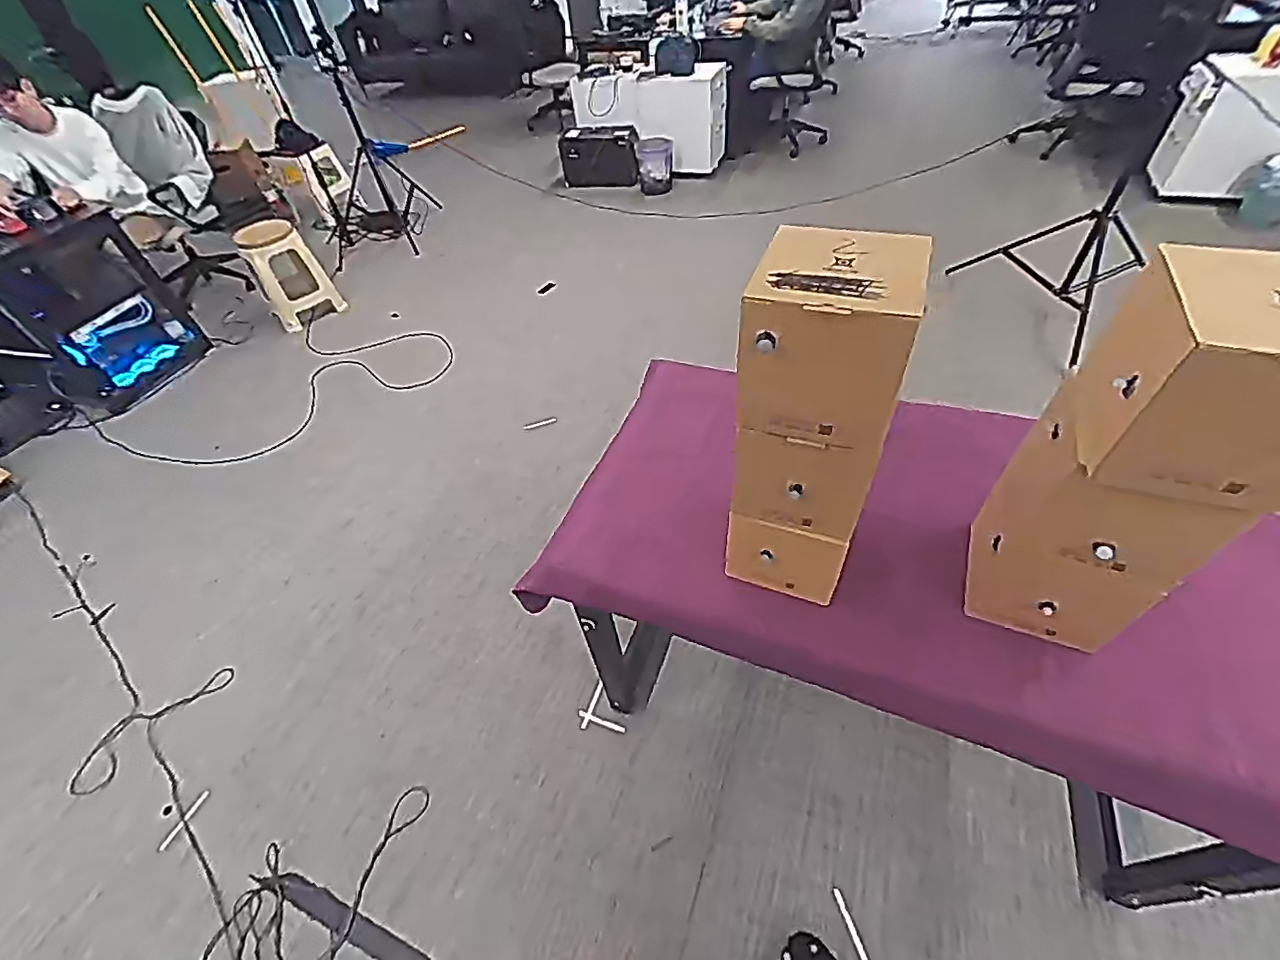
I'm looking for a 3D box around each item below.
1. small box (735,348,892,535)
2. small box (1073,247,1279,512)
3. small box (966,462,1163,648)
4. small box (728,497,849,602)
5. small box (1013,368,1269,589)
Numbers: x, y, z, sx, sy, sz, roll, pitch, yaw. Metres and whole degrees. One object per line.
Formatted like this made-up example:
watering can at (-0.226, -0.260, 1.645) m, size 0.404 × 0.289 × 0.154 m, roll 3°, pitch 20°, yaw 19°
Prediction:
small box at (0.228, -0.051, 0.733) m, size 0.168 × 0.176 × 0.179 m, roll 13°, pitch 51°, yaw 17°
small box at (0.553, -0.095, 0.513) m, size 0.168 × 0.176 × 0.179 m, roll 14°, pitch 51°, yaw 17°
small box at (0.584, 0.108, 0.768) m, size 0.168 × 0.176 × 0.179 m, roll 17°, pitch 52°, yaw 20°
small box at (0.241, 0.064, 0.850) m, size 0.168 × 0.176 × 0.179 m, roll 15°, pitch 50°, yaw 19°
small box at (0.574, -0.003, 0.647) m, size 0.168 × 0.176 × 0.179 m, roll 16°, pitch 53°, yaw 20°
